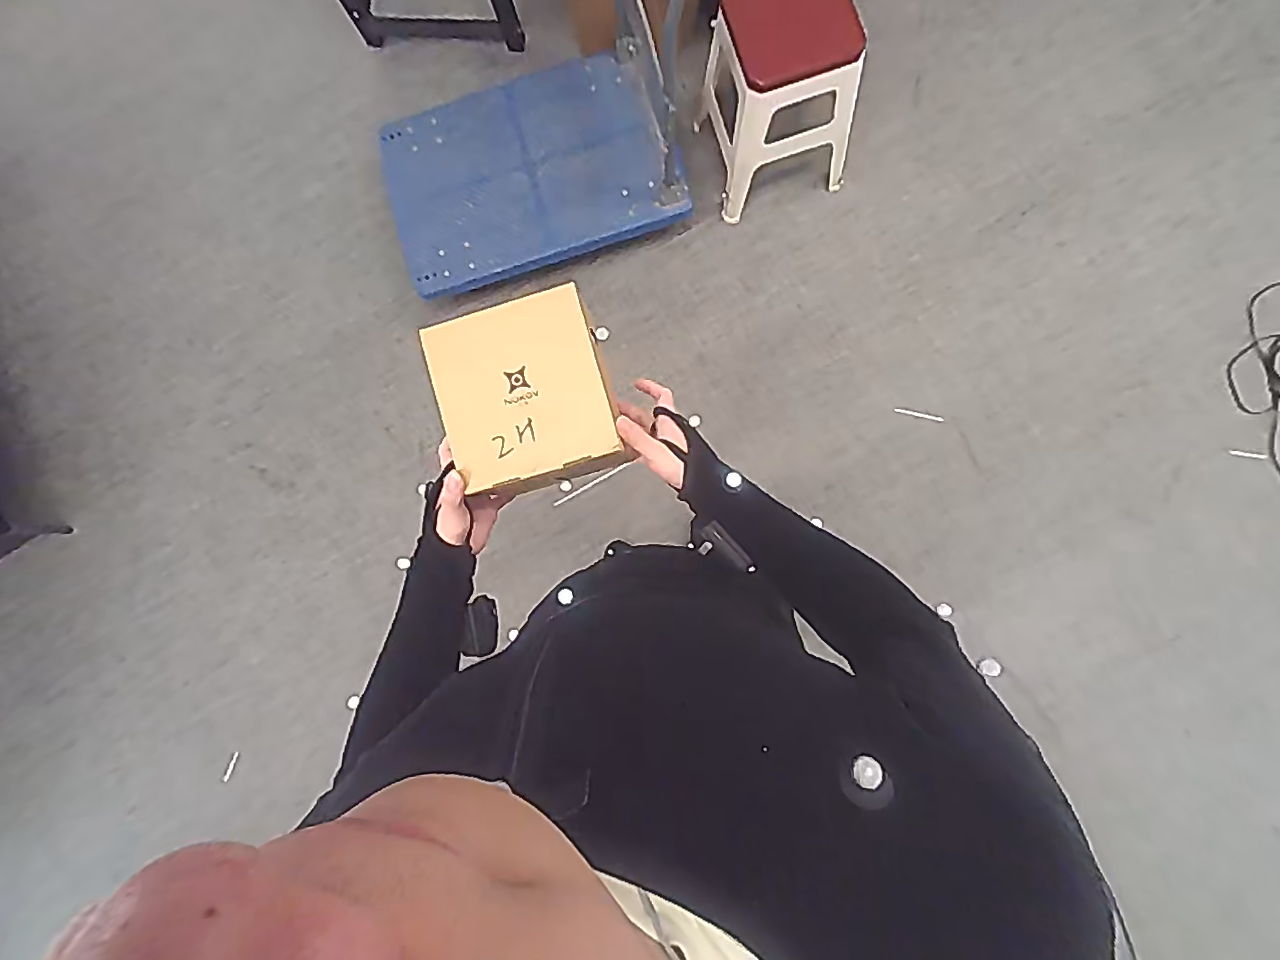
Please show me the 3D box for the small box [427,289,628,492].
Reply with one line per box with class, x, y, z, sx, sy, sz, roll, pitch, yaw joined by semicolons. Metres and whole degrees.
small box;-0.116;-0.088;0.625;0.168;0.176;0.179;-15;88;3
